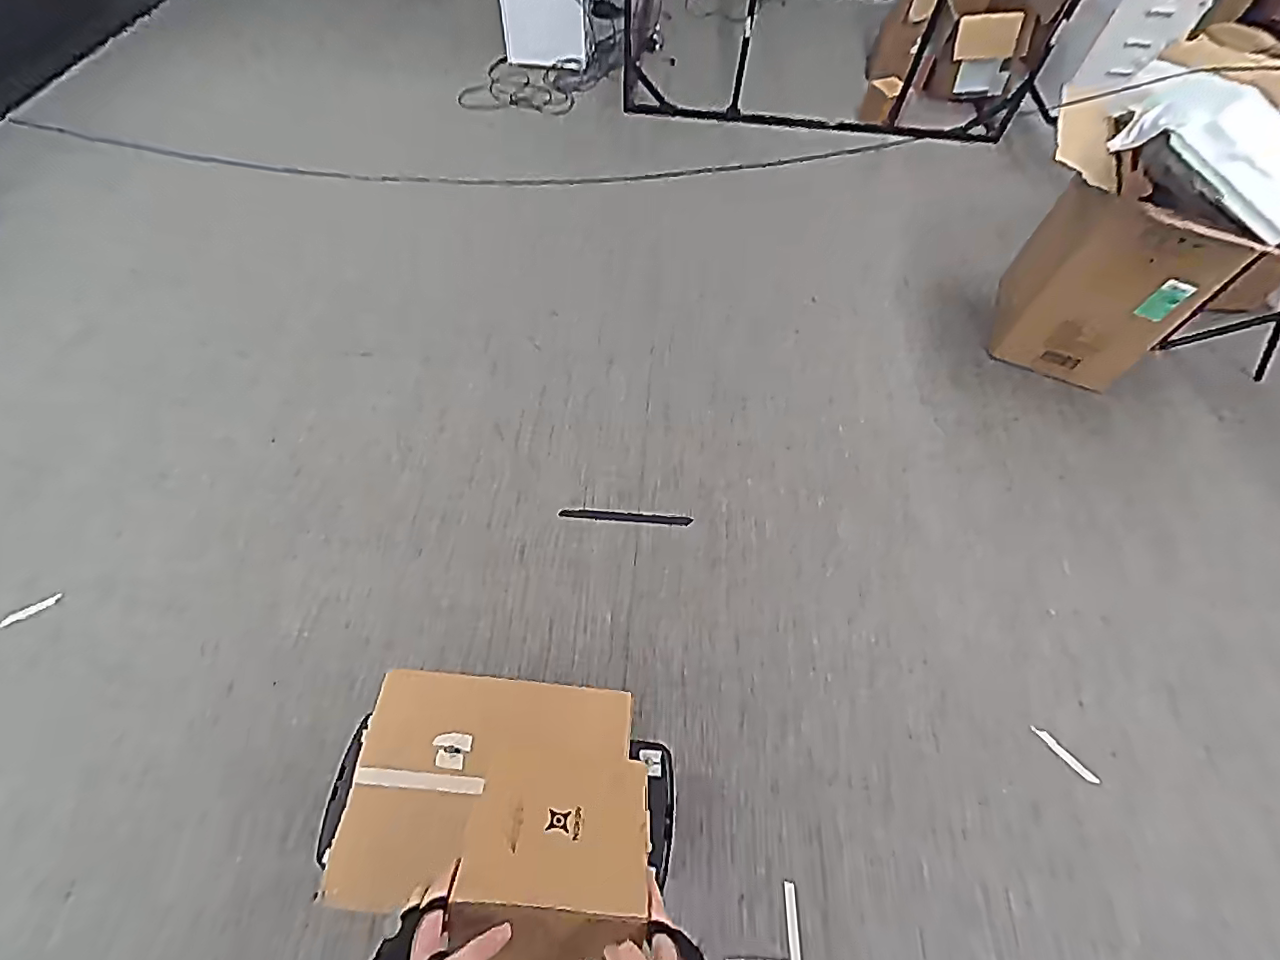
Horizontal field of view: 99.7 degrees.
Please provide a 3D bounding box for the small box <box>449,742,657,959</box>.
[{"bbox_3d":[-0.082,0.406,0.554,0.179,0.176,0.168,7,21,-2],"label":"small box"}]

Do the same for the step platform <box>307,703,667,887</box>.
[{"bbox_3d":[-0.288,0.674,1.109,0.684,0.204,0.286,10,58,4],"label":"step platform"}]

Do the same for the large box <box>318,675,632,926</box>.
[{"bbox_3d":[-0.222,0.537,0.917,0.408,0.320,0.320,5,57,1],"label":"large box"}]
